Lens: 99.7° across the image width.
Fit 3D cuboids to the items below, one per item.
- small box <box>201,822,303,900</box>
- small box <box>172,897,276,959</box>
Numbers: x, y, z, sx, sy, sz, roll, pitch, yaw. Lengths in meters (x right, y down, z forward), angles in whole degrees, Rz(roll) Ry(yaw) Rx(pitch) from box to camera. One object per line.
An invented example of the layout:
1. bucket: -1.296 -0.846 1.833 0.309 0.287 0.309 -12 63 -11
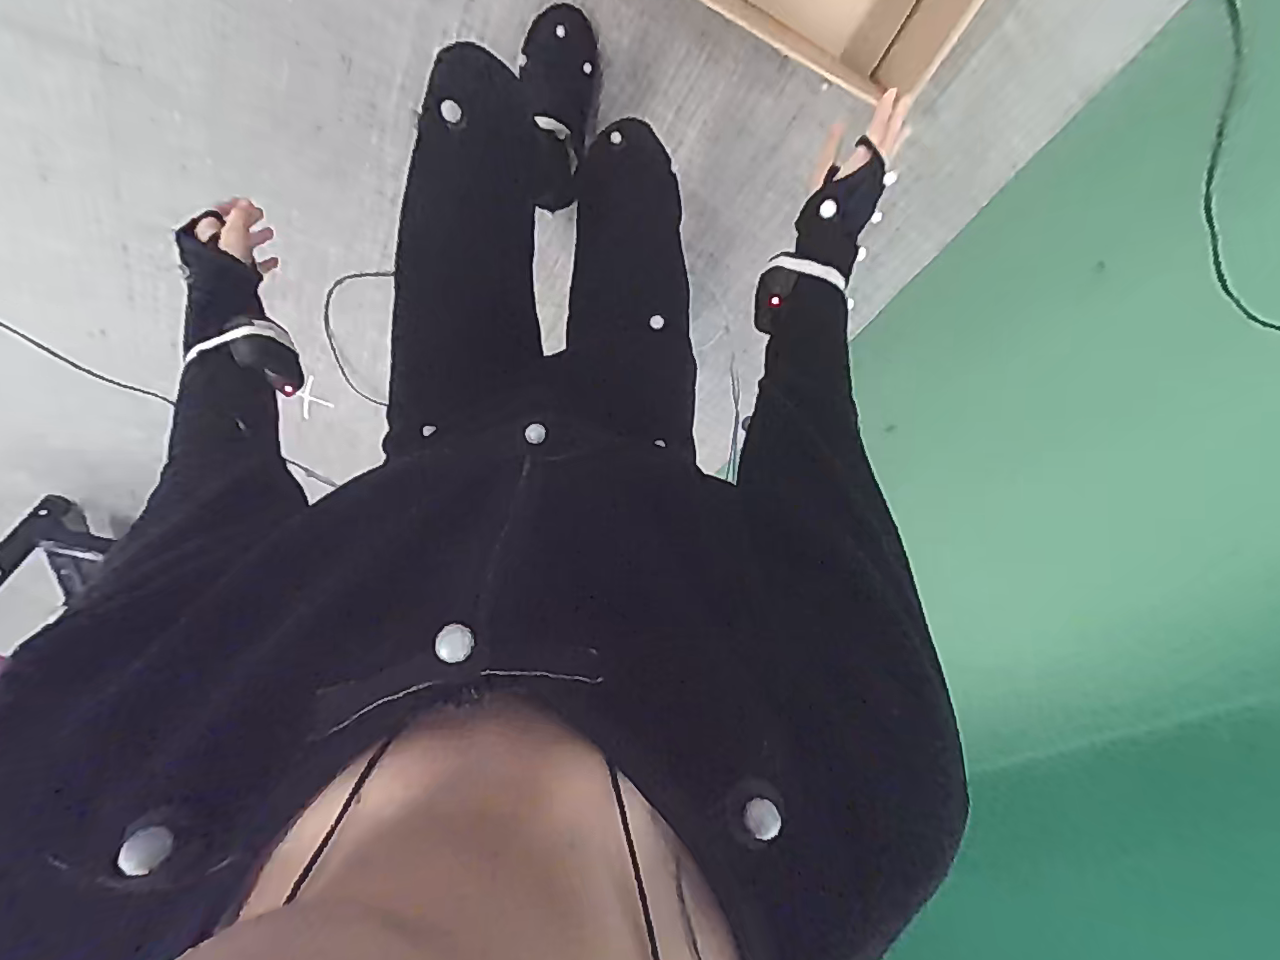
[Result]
1. small box: -1.071 1.062 1.500 0.179 0.176 0.168 20 135 -20
2. small box: -1.073 1.184 1.390 0.179 0.176 0.168 19 135 -21
